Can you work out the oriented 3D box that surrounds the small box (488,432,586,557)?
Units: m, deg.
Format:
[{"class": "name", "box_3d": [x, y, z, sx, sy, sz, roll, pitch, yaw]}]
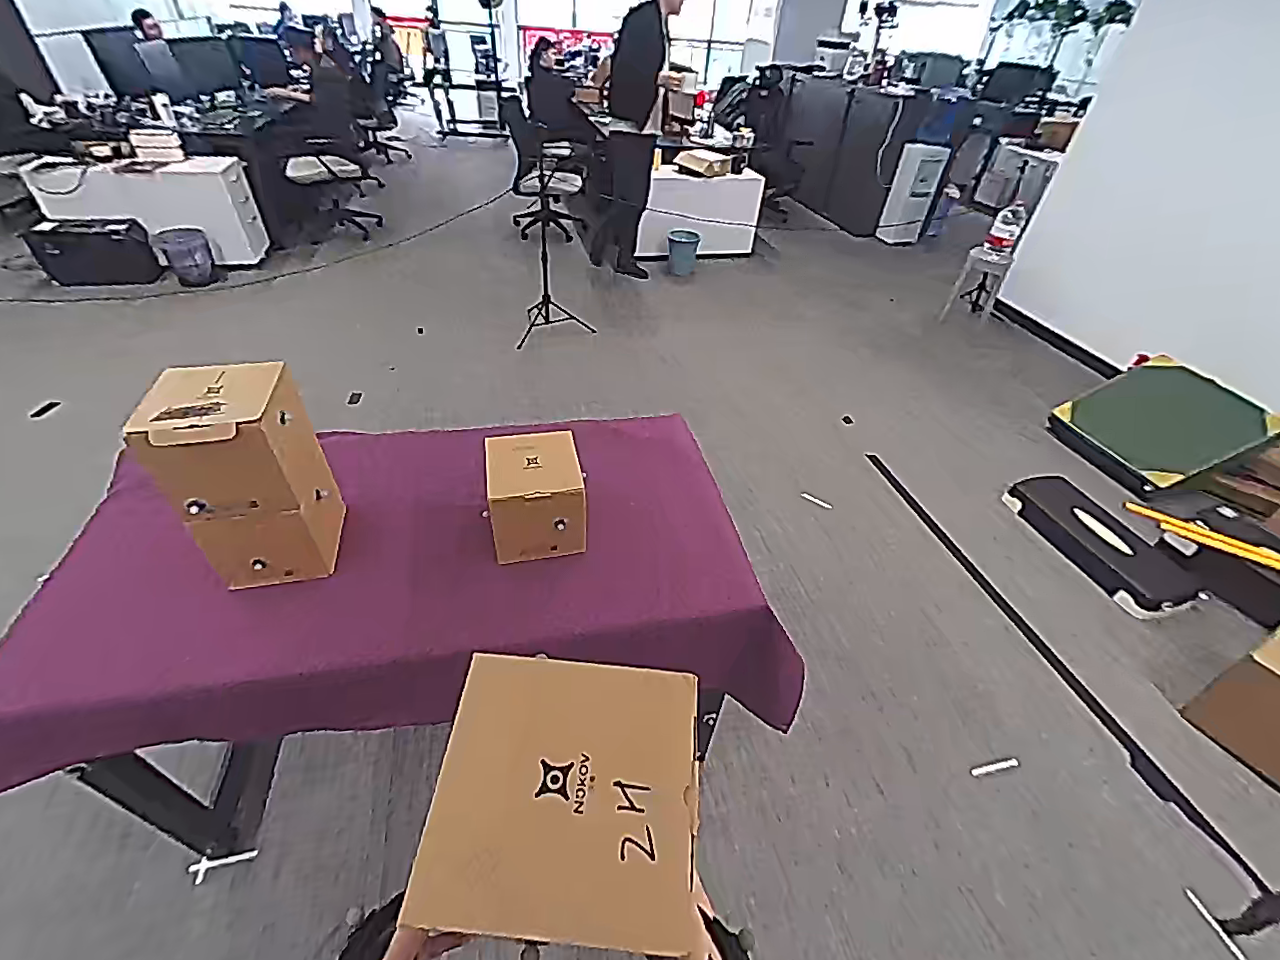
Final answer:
[{"class": "small box", "box_3d": [-0.194, 0.031, 1.026, 0.168, 0.176, 0.179, -5, 42, -12]}]

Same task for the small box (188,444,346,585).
[{"class": "small box", "box_3d": [-0.636, 0.059, 0.951, 0.168, 0.176, 0.179, -6, 43, -13]}]

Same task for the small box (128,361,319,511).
[{"class": "small box", "box_3d": [-0.626, -0.065, 0.843, 0.168, 0.176, 0.179, -7, 42, -14]}]

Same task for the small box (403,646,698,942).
[{"class": "small box", "box_3d": [-0.052, 0.250, 0.431, 0.179, 0.176, 0.168, 6, 52, 1]}]
